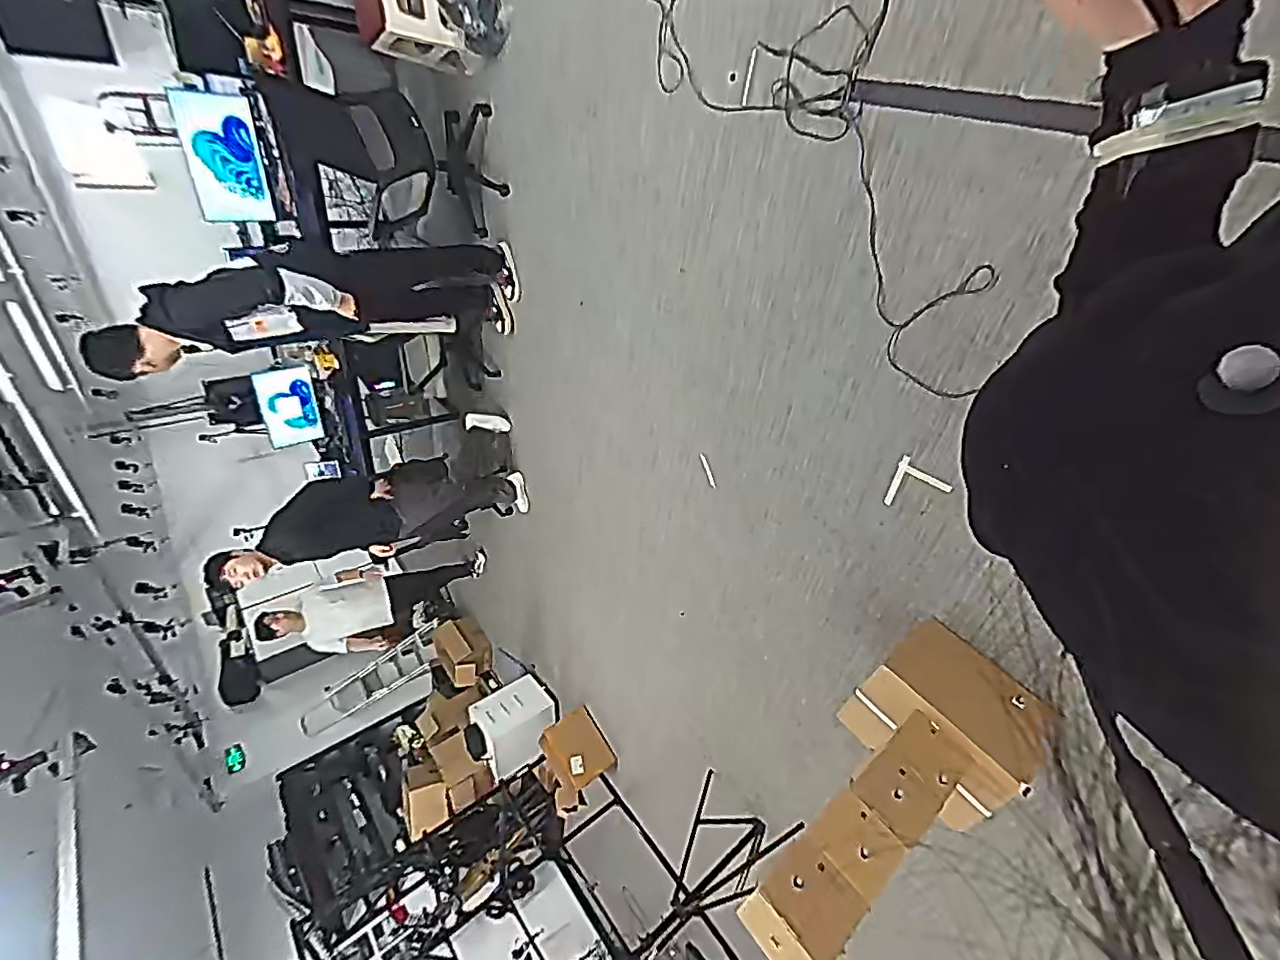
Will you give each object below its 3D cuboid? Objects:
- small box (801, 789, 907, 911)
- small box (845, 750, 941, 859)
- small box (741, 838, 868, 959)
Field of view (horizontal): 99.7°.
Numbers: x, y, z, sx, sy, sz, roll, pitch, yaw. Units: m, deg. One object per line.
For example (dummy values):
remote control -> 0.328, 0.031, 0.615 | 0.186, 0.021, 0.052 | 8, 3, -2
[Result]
small box -> 0.468, 0.842, 1.217 | 0.168, 0.176, 0.179 | 41, 137, 33
small box -> 0.593, 0.797, 1.311 | 0.168, 0.176, 0.179 | 43, 137, 32
small box -> 0.344, 0.894, 1.126 | 0.168, 0.176, 0.179 | 42, 138, 34
